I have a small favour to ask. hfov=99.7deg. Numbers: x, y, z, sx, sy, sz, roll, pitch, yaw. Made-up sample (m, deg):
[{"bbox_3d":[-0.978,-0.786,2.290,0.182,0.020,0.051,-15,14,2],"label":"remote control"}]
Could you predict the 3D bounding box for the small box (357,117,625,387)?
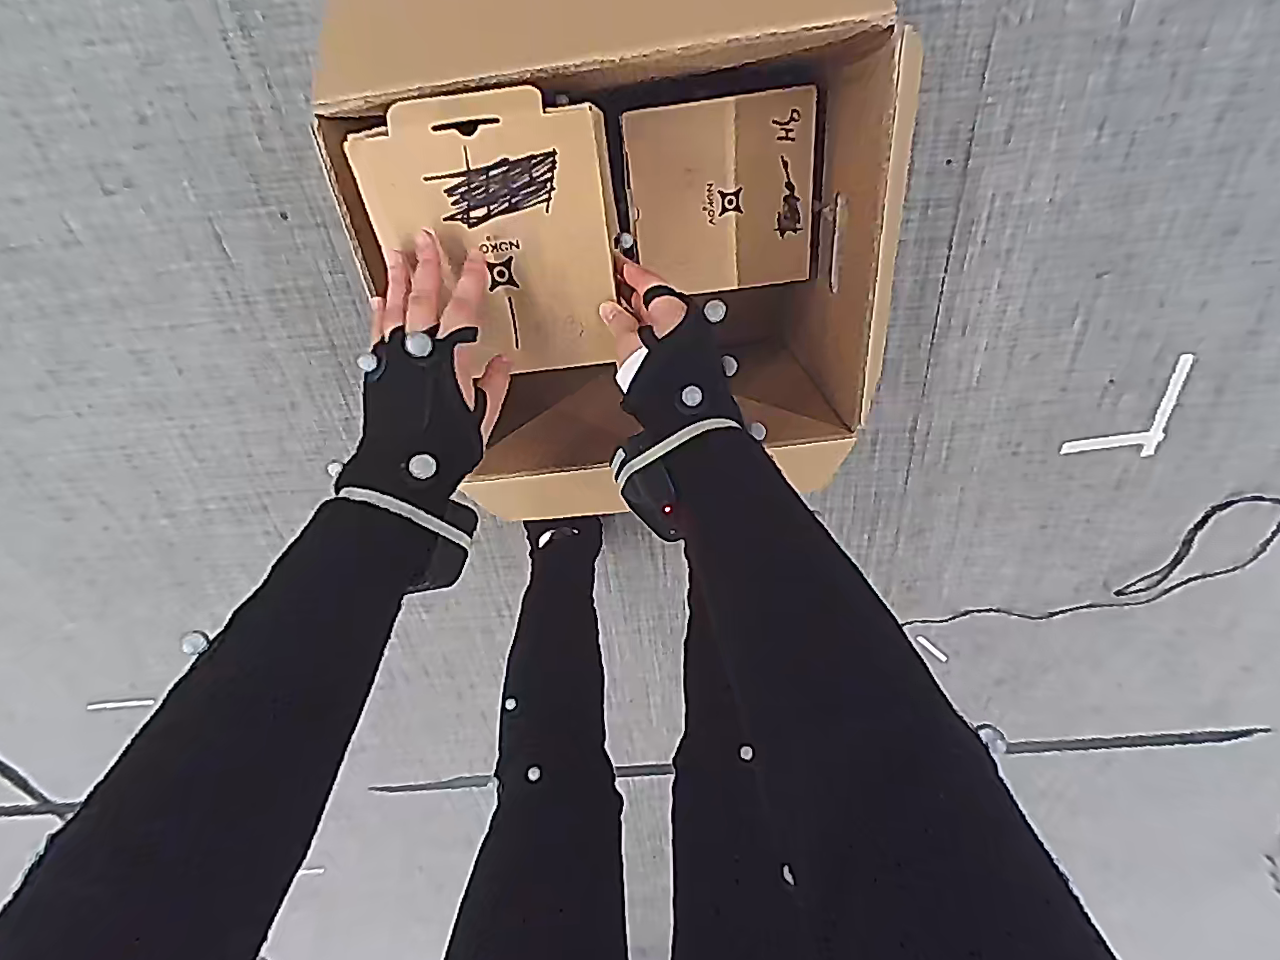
[{"bbox_3d":[-0.105,-0.201,0.472,0.168,0.176,0.179,-6,124,3],"label":"small box"}]
